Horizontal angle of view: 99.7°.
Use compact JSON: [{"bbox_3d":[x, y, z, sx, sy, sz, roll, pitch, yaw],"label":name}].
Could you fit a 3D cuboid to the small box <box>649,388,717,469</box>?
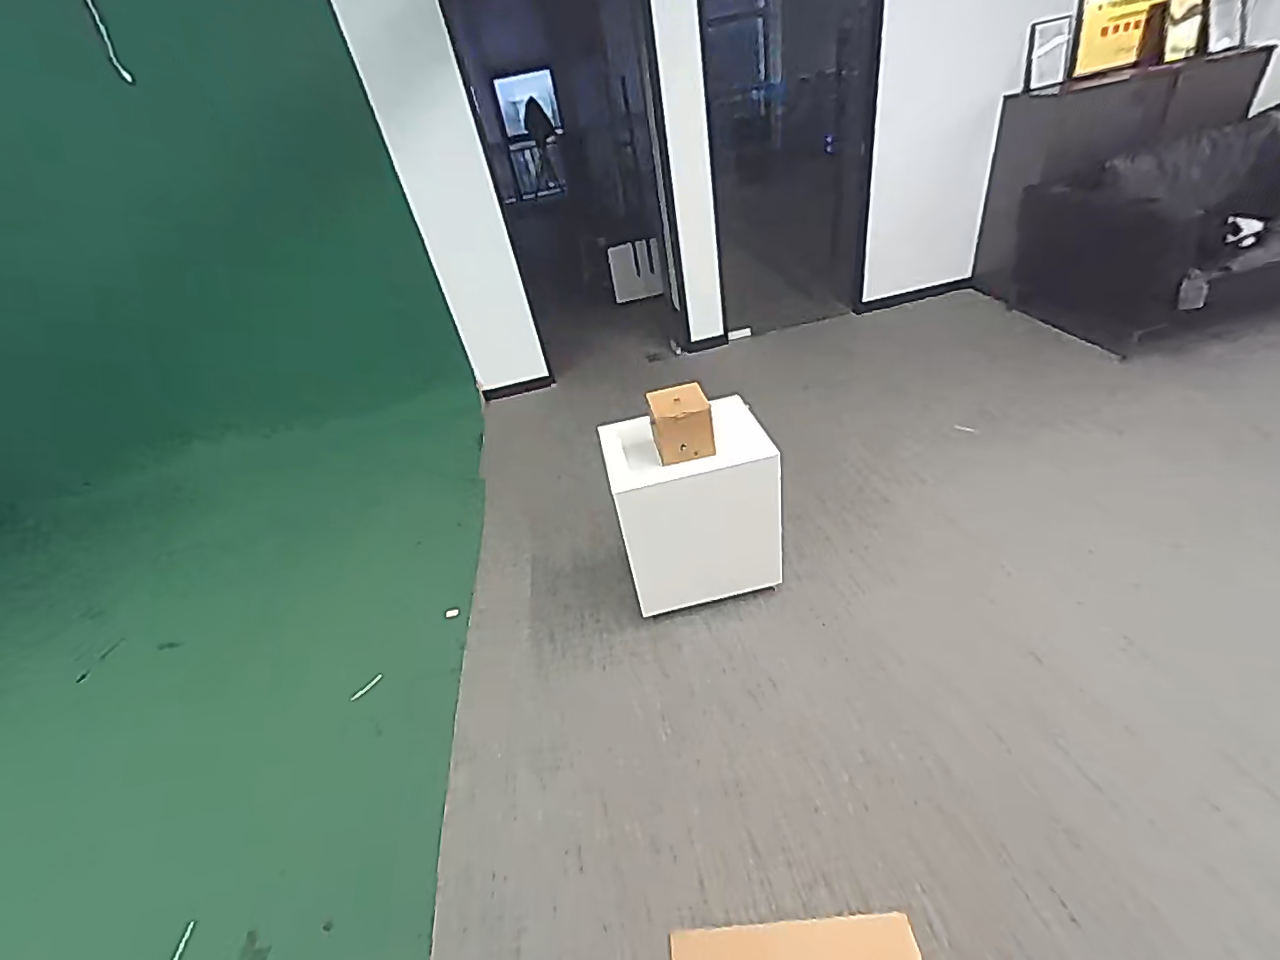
[{"bbox_3d":[0.129,-0.158,1.644,0.168,0.176,0.179,-13,34,-2],"label":"small box"}]
